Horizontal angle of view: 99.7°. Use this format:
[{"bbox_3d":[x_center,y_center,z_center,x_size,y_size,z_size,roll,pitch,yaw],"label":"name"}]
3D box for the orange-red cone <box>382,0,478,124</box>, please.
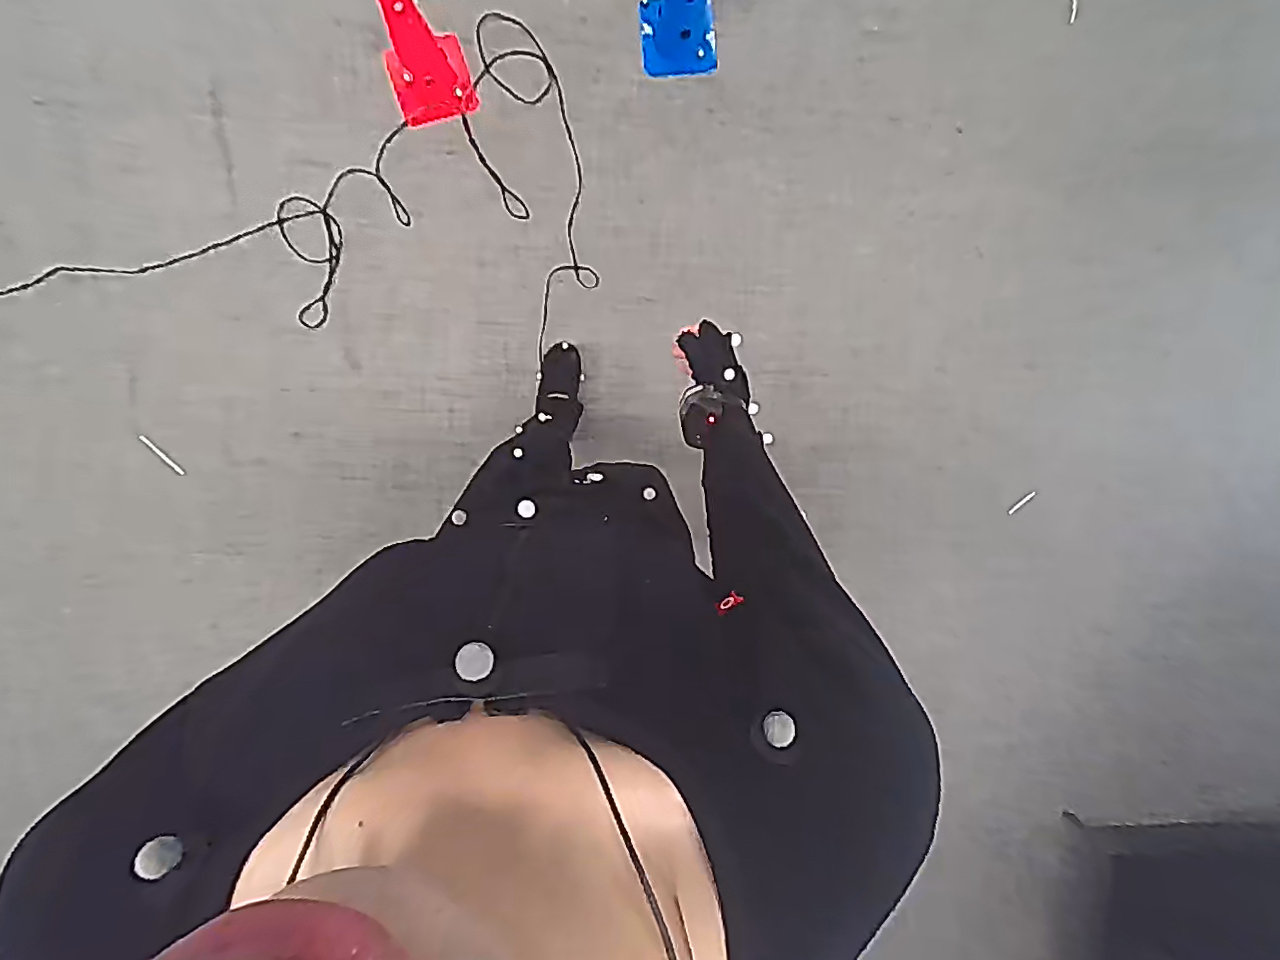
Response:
[{"bbox_3d":[-0.523,-1.026,1.226,0.198,0.360,0.199,-18,93,-4],"label":"orange-red cone"}]
